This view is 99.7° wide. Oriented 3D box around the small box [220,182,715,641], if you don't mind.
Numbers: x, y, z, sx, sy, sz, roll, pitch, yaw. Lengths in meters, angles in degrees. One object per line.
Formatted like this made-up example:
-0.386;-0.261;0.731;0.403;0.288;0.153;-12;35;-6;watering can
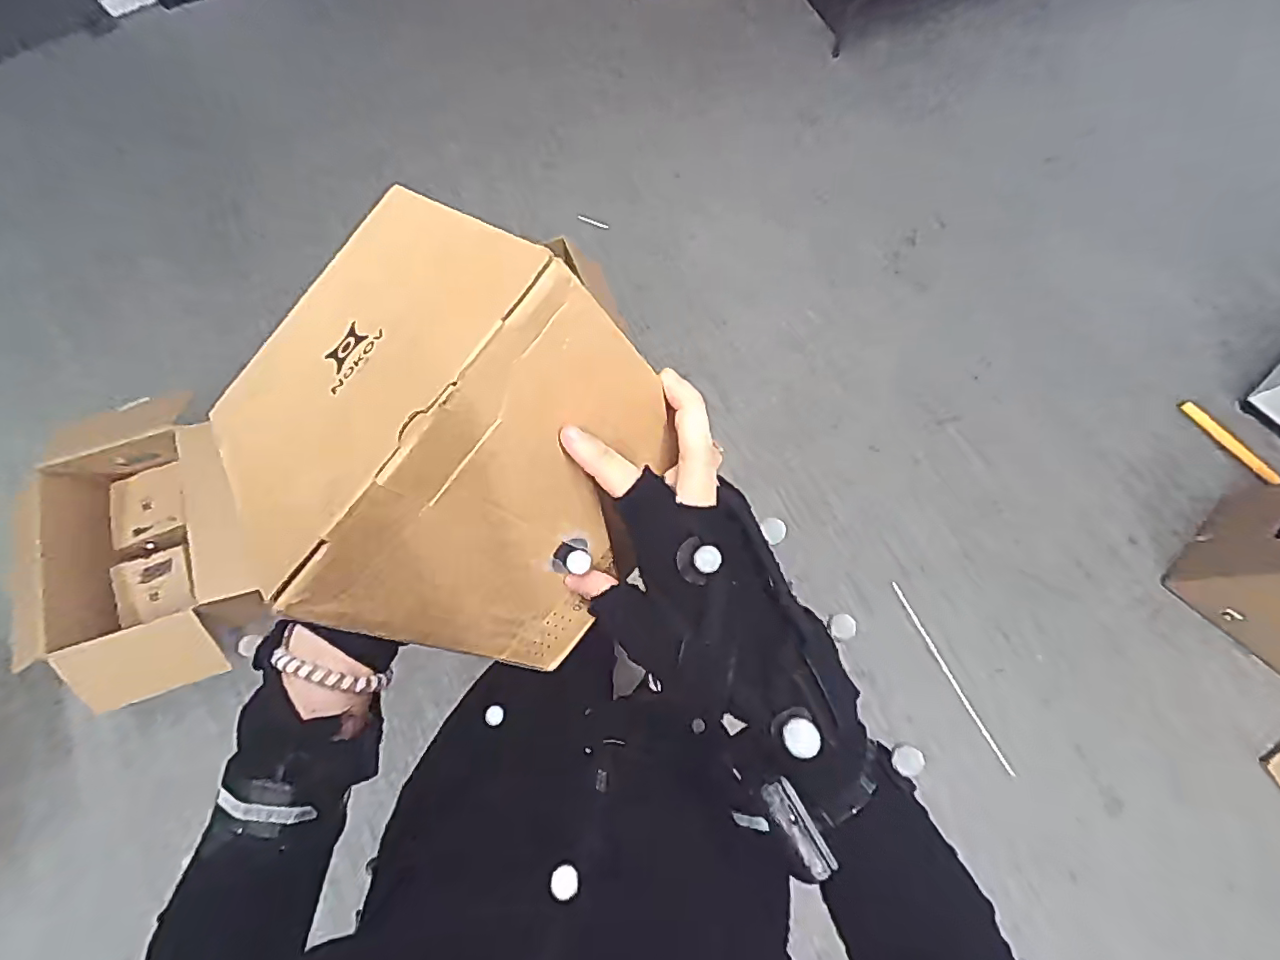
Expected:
-0.089;-0.030;0.311;0.168;0.176;0.179;-51;53;-1;small box
